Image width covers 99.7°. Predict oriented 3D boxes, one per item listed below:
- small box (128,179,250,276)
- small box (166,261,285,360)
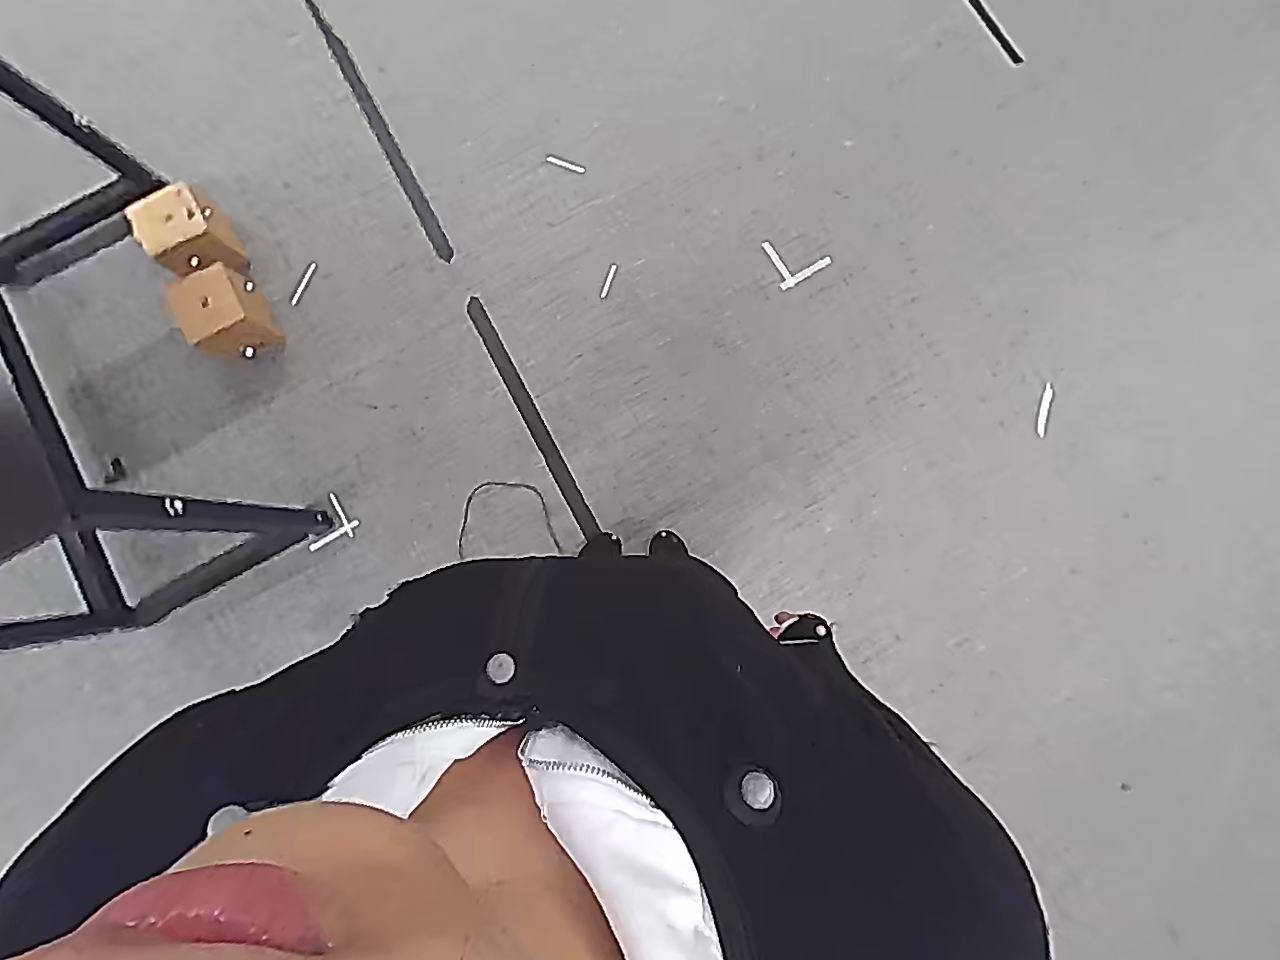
[{"bbox_3d":[-1.268,-0.696,1.533,0.179,0.176,0.168,-29,85,-3],"label":"small box"},{"bbox_3d":[-1.147,-0.464,1.508,0.168,0.176,0.179,-29,85,-2],"label":"small box"}]
